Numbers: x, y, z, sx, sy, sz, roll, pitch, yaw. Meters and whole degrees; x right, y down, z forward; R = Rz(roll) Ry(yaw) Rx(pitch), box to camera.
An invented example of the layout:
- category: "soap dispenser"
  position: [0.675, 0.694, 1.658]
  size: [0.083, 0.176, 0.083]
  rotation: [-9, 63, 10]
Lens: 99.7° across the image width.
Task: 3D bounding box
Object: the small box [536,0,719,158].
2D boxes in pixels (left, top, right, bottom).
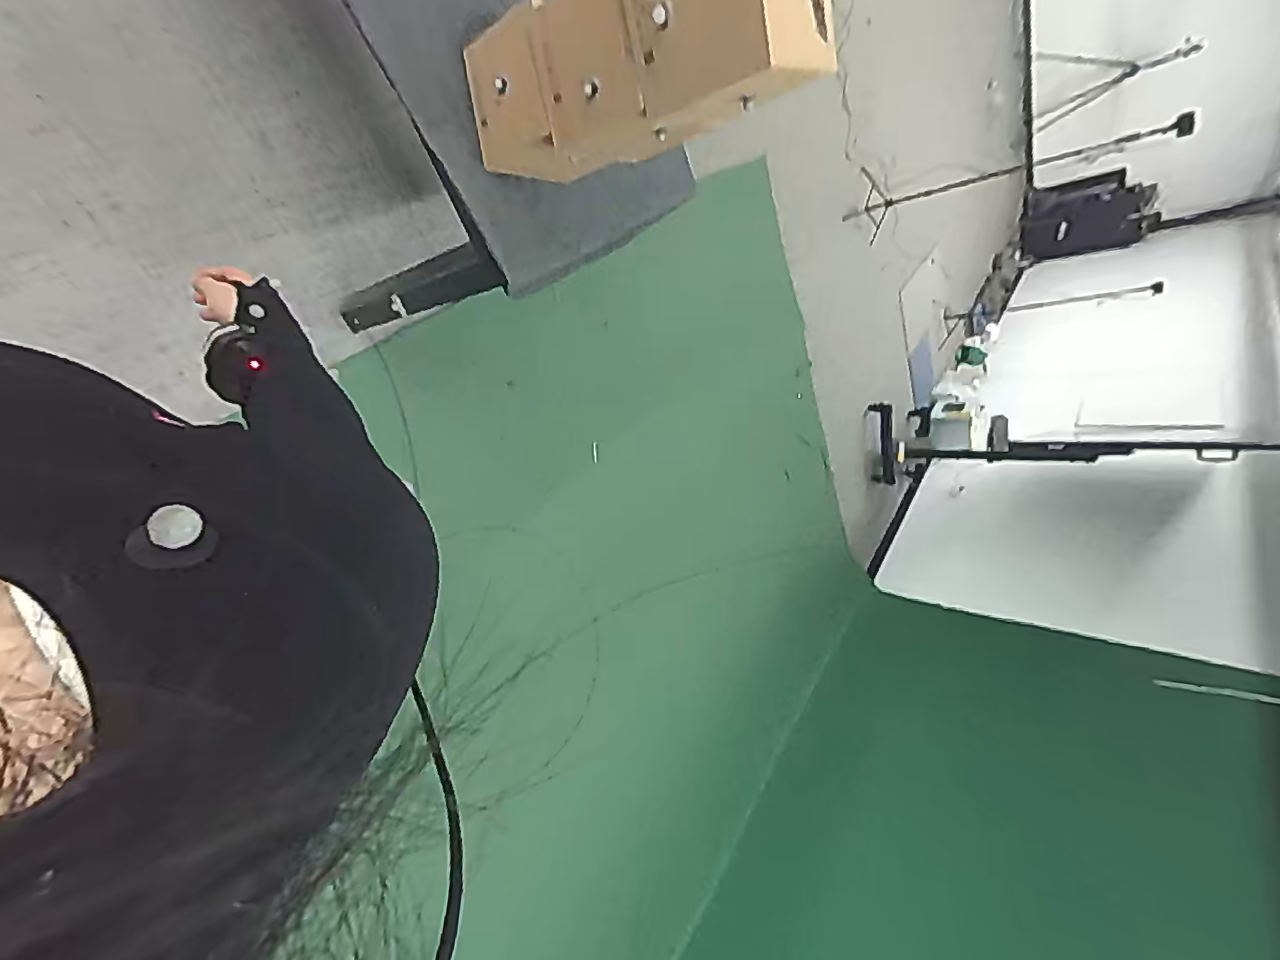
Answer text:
- category: "small box"
  position: [-0.020, -0.551, 0.724]
  size: [0.179, 0.176, 0.168]
  rotation: [-29, 116, -44]

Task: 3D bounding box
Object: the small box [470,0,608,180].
- category: "small box"
  position: [-0.140, -0.582, 0.830]
  size: [0.179, 0.176, 0.168]
  rotation: [-22, 110, -46]

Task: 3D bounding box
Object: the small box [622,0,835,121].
- category: "small box"
  position: [0.101, -0.531, 0.614]
  size: [0.179, 0.176, 0.168]
  rotation: [-36, 119, -40]

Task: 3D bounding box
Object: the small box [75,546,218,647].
- category: "small box"
  position: [-0.988, 0.230, 1.080]
  size: [0.179, 0.176, 0.168]
  rotation: [17, 83, -47]
